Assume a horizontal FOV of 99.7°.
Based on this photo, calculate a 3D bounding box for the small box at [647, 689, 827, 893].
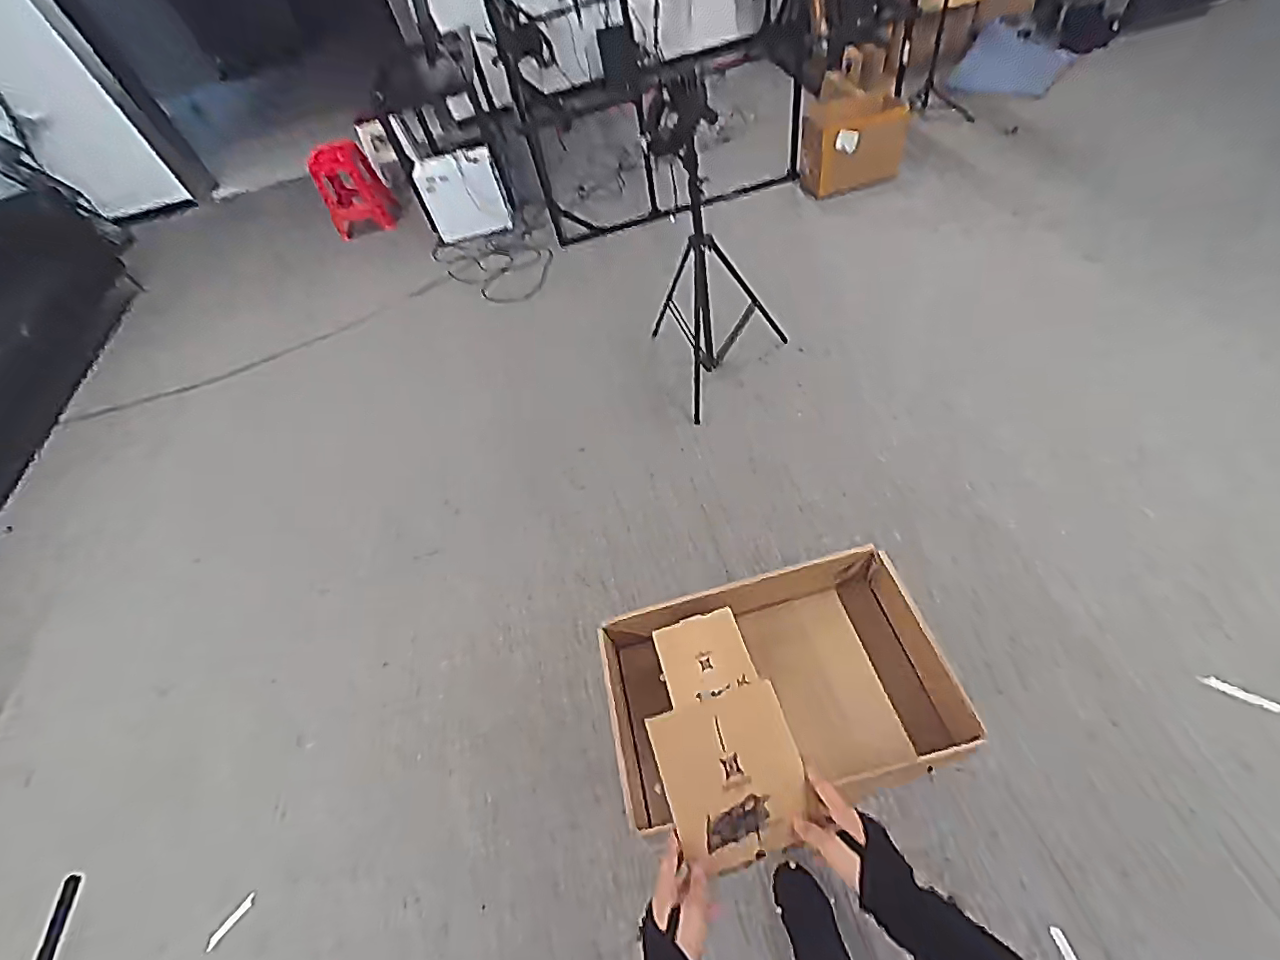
[{"bbox_3d":[0.115,0.389,0.703,0.168,0.176,0.179,-17,64,-4],"label":"small box"}]

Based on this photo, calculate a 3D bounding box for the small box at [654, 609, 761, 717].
[{"bbox_3d":[0.137,0.392,1.087,0.168,0.176,0.179,-18,51,-1],"label":"small box"}]
